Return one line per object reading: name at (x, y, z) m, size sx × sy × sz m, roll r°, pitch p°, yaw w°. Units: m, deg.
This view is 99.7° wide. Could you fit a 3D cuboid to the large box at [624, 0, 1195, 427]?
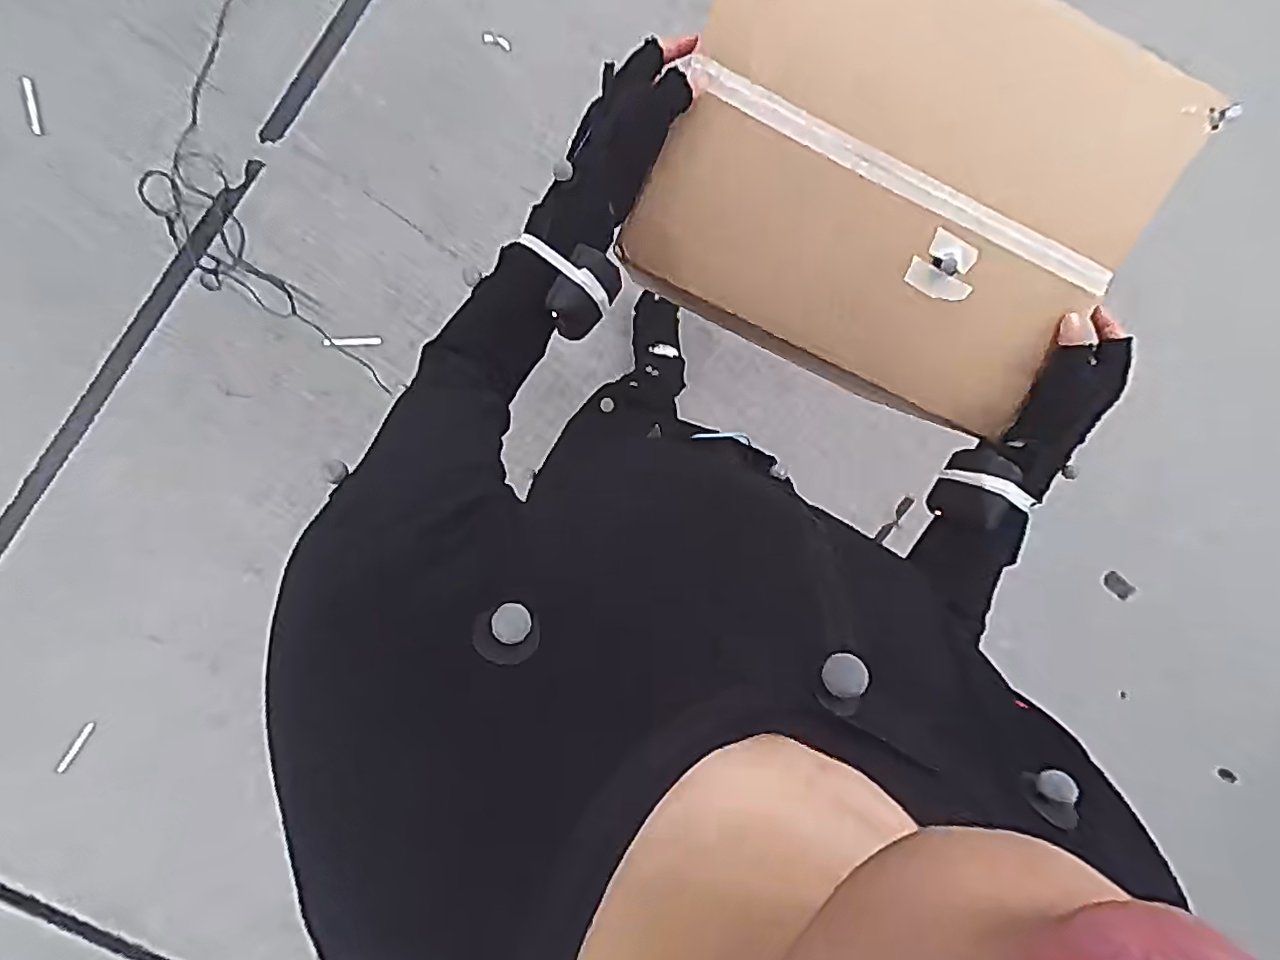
large box at (0.226, -0.302, 0.614) m, size 0.408 × 0.320 × 0.320 m, roll 25°, pitch 106°, yaw -6°
